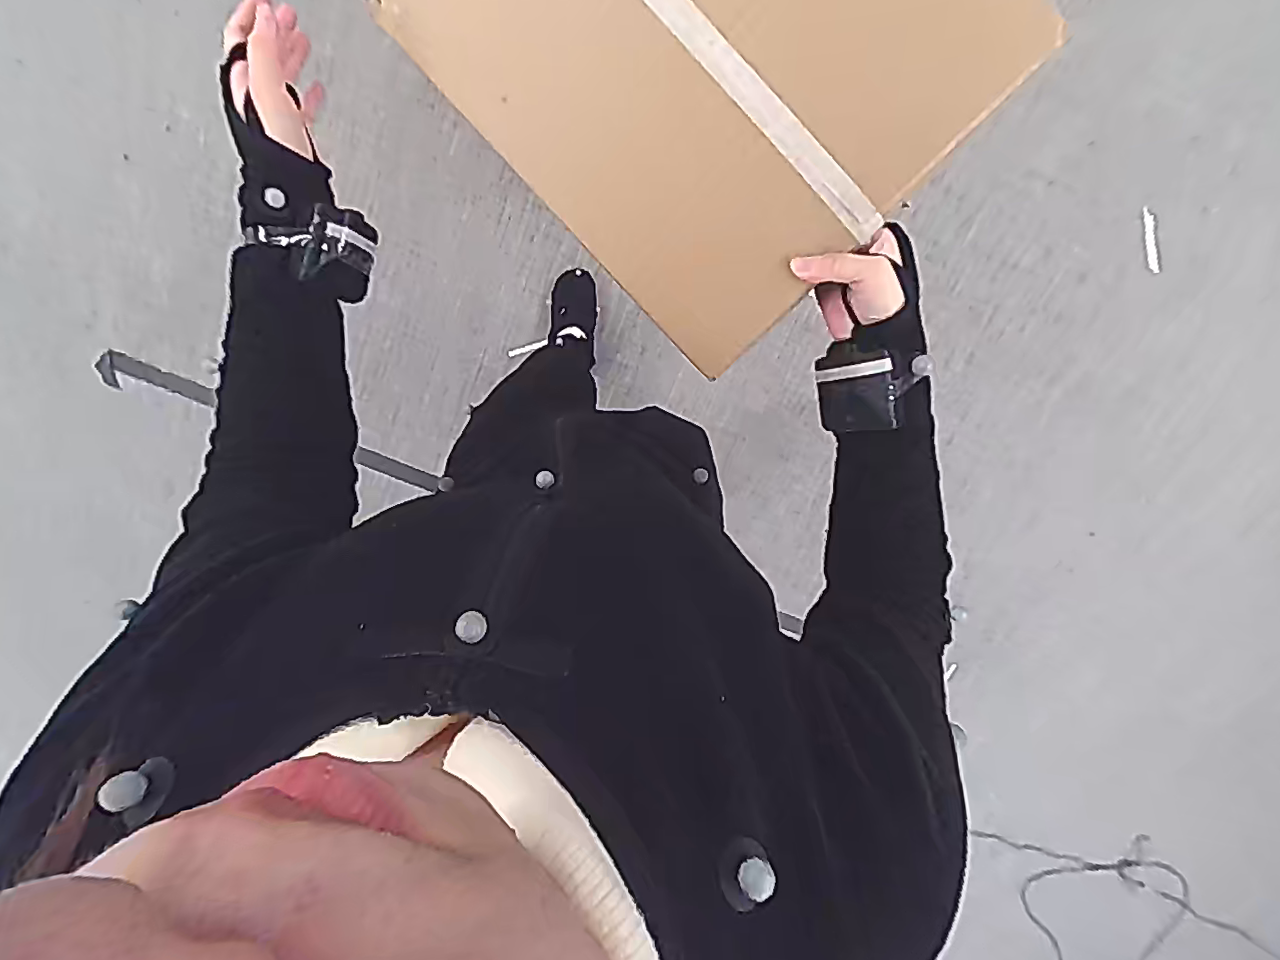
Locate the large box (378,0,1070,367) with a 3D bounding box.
[{"bbox_3d":[0.066,-0.367,0.520,0.408,0.320,0.320,46,111,-2],"label":"large box"}]
